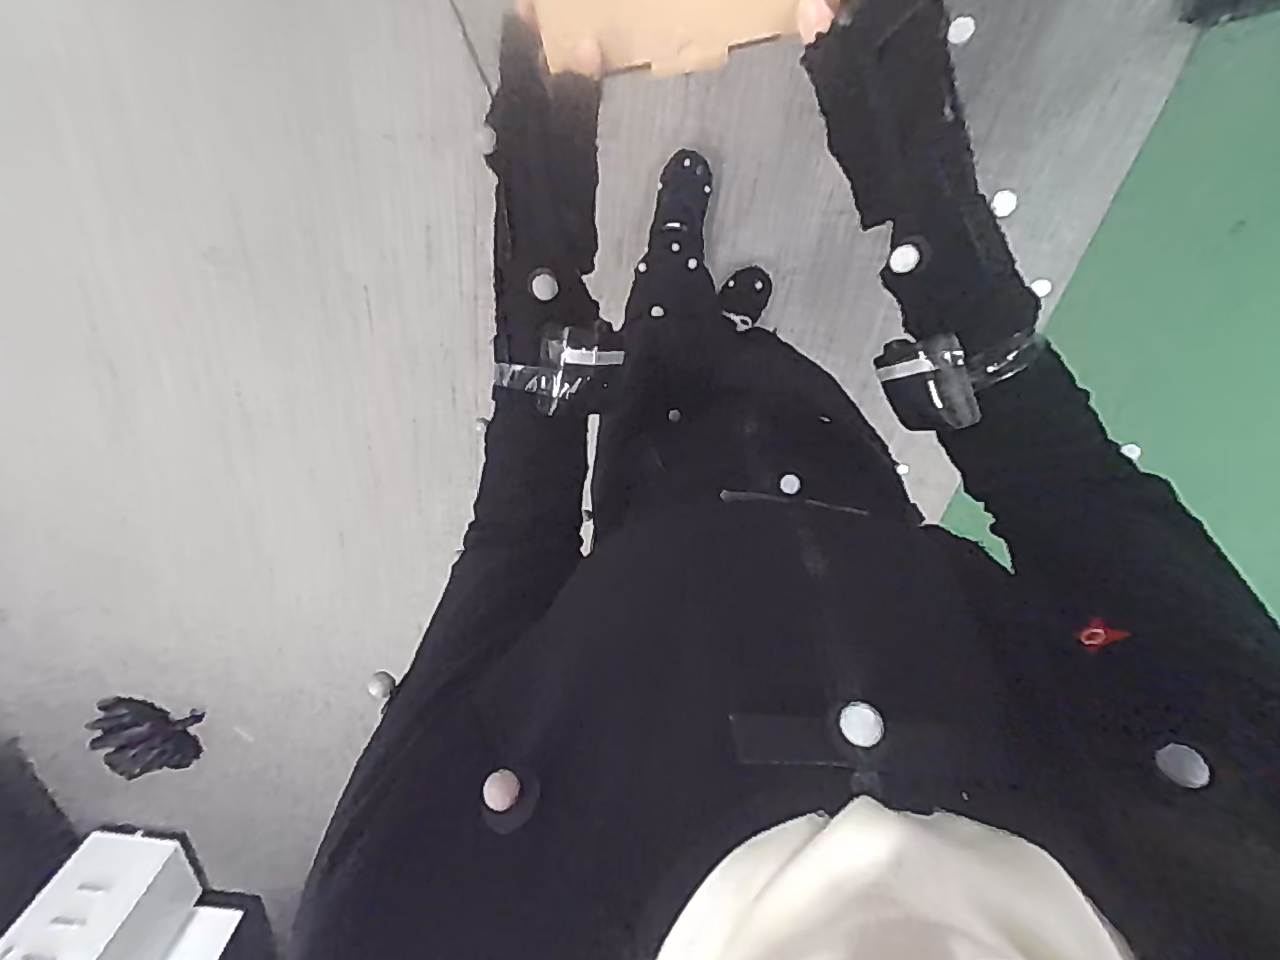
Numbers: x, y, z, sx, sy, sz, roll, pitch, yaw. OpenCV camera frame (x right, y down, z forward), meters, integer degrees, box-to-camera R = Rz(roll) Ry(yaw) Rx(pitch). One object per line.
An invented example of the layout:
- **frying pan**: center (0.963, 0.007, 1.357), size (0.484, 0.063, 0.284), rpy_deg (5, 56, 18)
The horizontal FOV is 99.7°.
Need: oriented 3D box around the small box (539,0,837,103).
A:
- **small box**: center (0.021, -0.357, 0.320), size (0.168, 0.176, 0.179), rpy_deg (-6, 133, 8)
